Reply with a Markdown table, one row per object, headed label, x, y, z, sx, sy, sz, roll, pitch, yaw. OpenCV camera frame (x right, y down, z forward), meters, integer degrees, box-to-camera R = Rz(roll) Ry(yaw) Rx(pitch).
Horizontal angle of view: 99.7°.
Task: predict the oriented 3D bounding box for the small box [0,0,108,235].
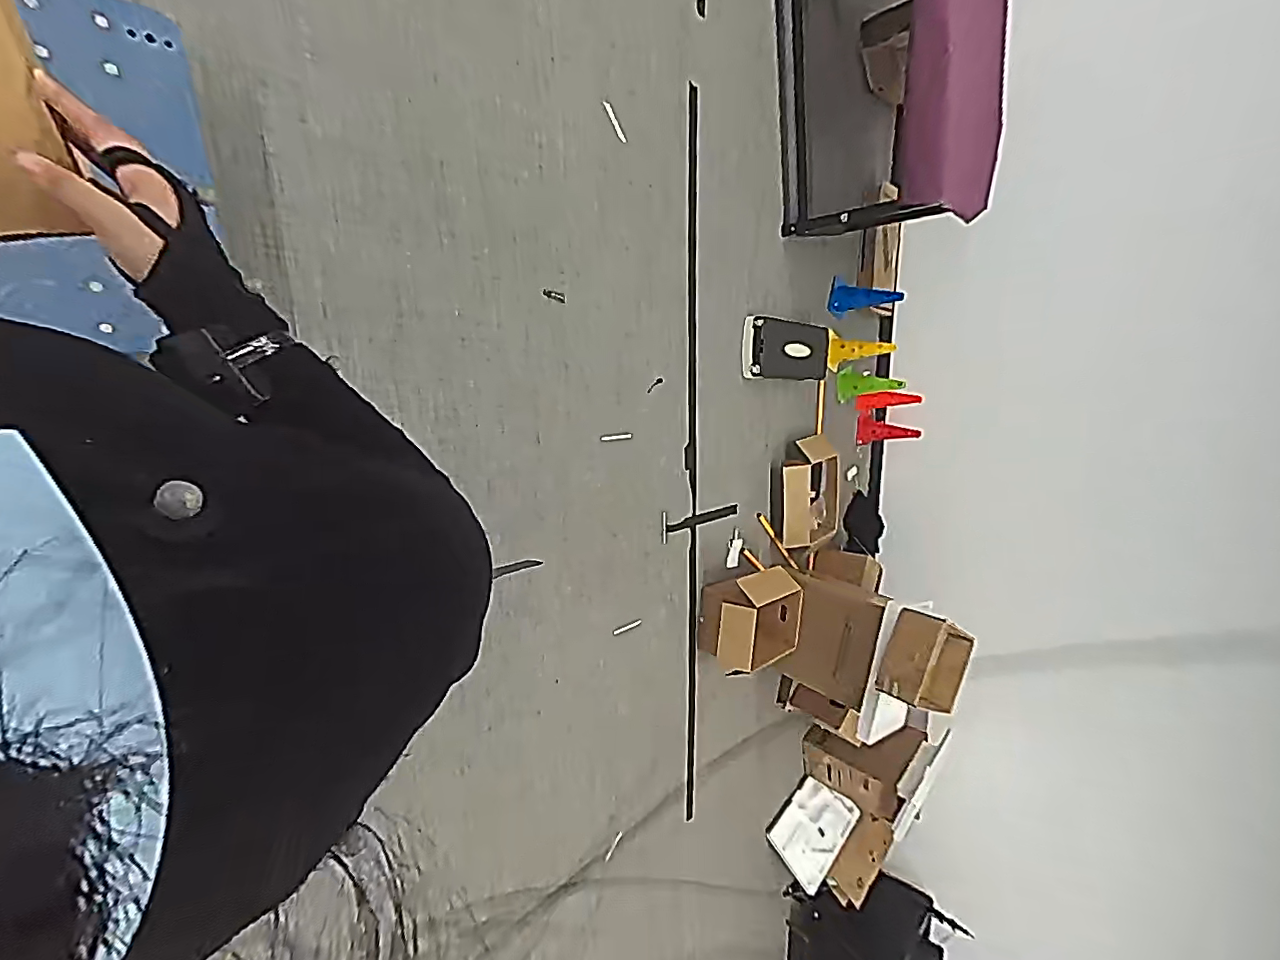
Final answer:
| label | x | y | z | sx | sy | sz | roll | pitch | yaw |
| --- | --- | --- | --- | --- | --- | --- | --- | --- | --- |
| small box | -0.492 | -0.258 | 0.346 | 0.168 | 0.176 | 0.179 | -24 | 130 | -34 |
